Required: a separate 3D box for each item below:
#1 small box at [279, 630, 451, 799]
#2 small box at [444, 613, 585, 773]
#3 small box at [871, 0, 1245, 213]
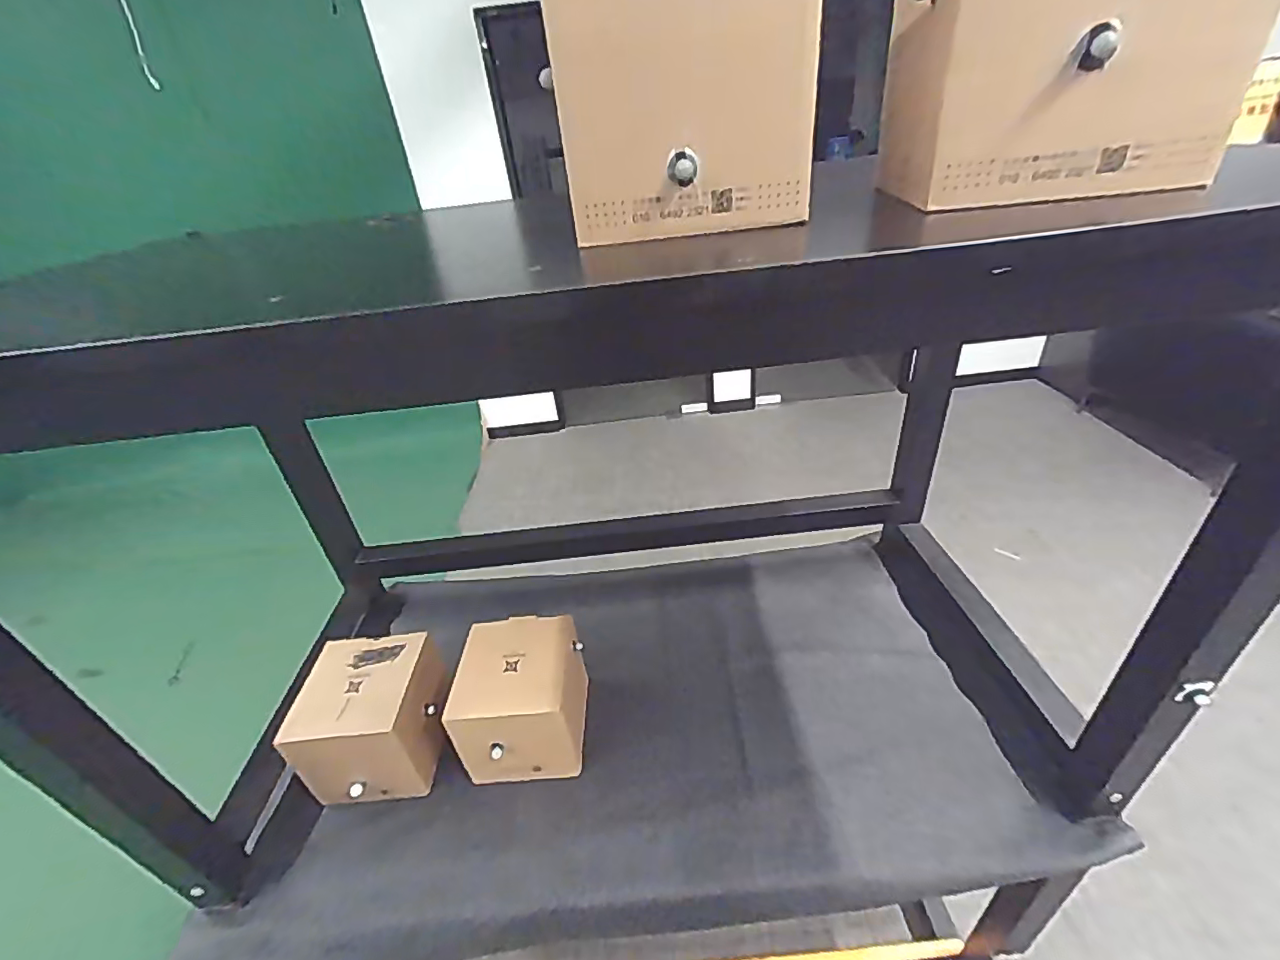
[{"bbox_3d":[-0.408,0.363,0.846,0.168,0.176,0.179,-6,33,1],"label":"small box"},{"bbox_3d":[-0.182,0.337,0.850,0.168,0.176,0.179,-5,32,2],"label":"small box"},{"bbox_3d":[0.275,-0.295,0.387,0.168,0.176,0.179,0,33,11],"label":"small box"}]
